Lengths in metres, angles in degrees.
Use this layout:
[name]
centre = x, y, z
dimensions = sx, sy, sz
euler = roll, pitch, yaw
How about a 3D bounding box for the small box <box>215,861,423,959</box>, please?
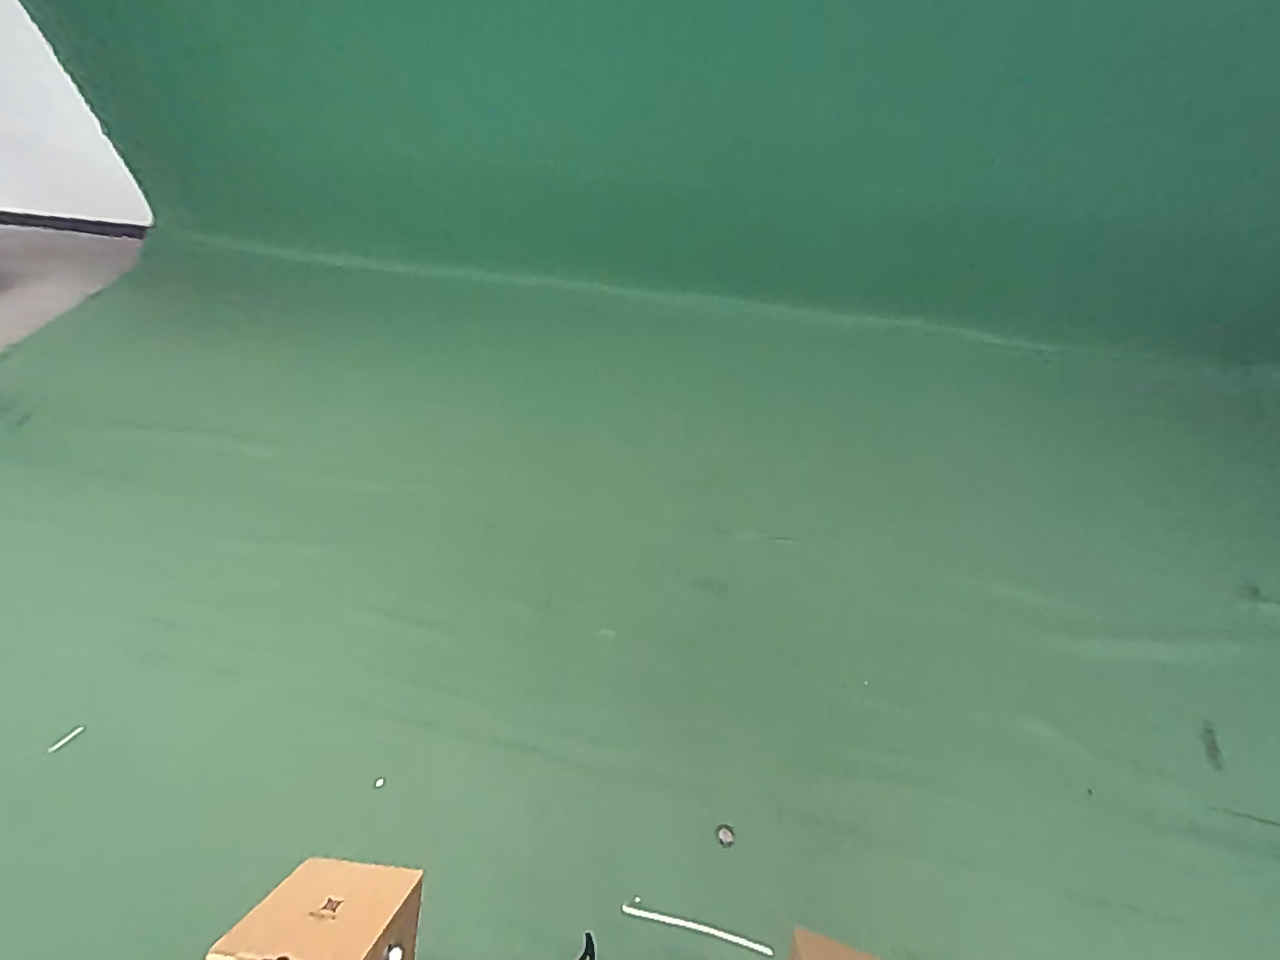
[small box]
centre = -0.390, 0.612, 0.657
dimensions = 0.168, 0.179, 0.176
euler = 5, 84, 2
